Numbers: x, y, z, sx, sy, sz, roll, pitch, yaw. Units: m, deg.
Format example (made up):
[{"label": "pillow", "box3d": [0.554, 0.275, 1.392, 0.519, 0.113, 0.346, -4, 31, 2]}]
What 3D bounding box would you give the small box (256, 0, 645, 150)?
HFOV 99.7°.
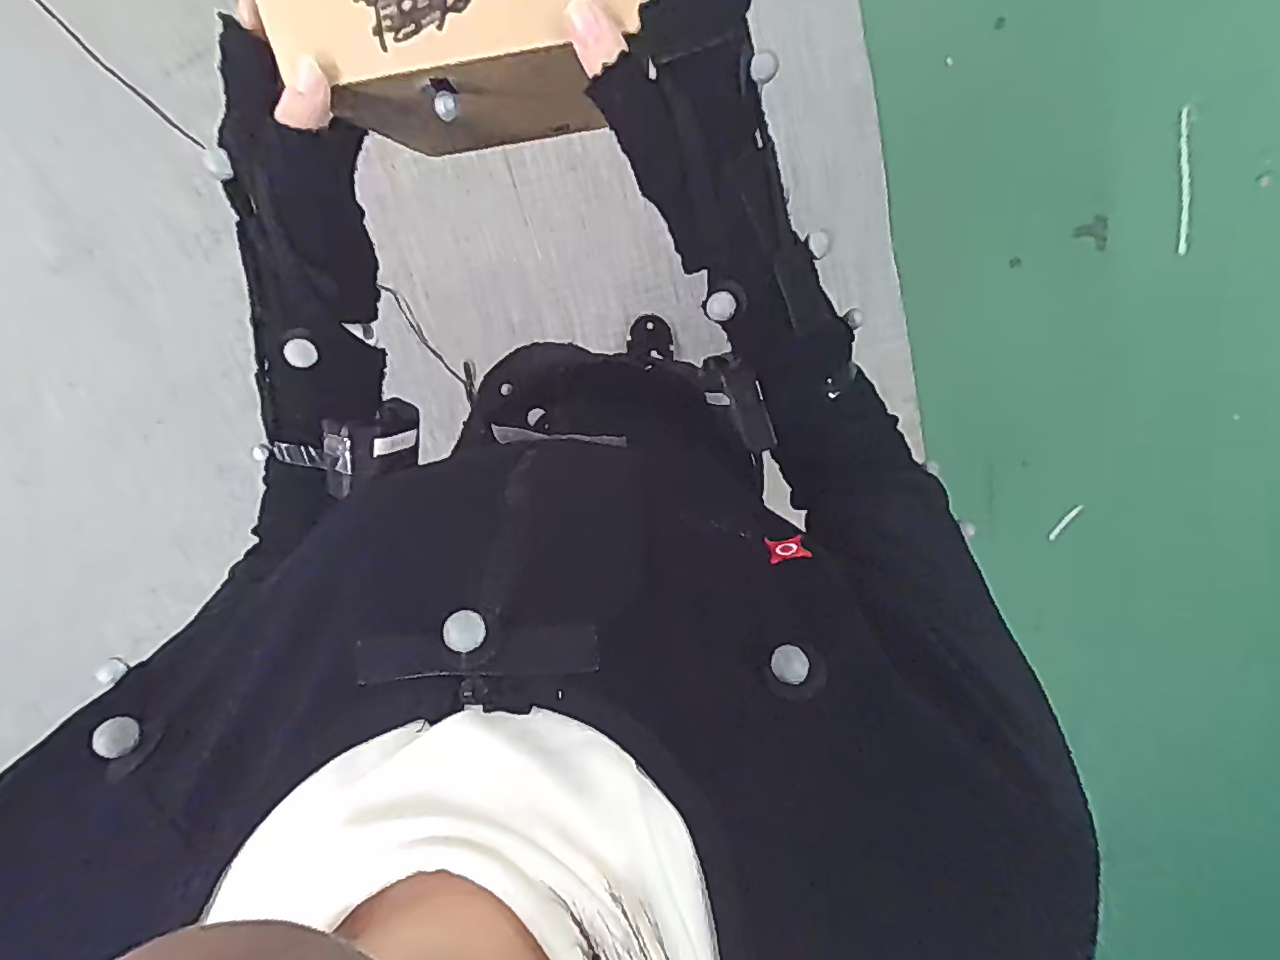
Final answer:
[{"label": "small box", "box3d": [-0.090, -0.299, 0.281, 0.168, 0.176, 0.179, -8, 111, 5]}]
